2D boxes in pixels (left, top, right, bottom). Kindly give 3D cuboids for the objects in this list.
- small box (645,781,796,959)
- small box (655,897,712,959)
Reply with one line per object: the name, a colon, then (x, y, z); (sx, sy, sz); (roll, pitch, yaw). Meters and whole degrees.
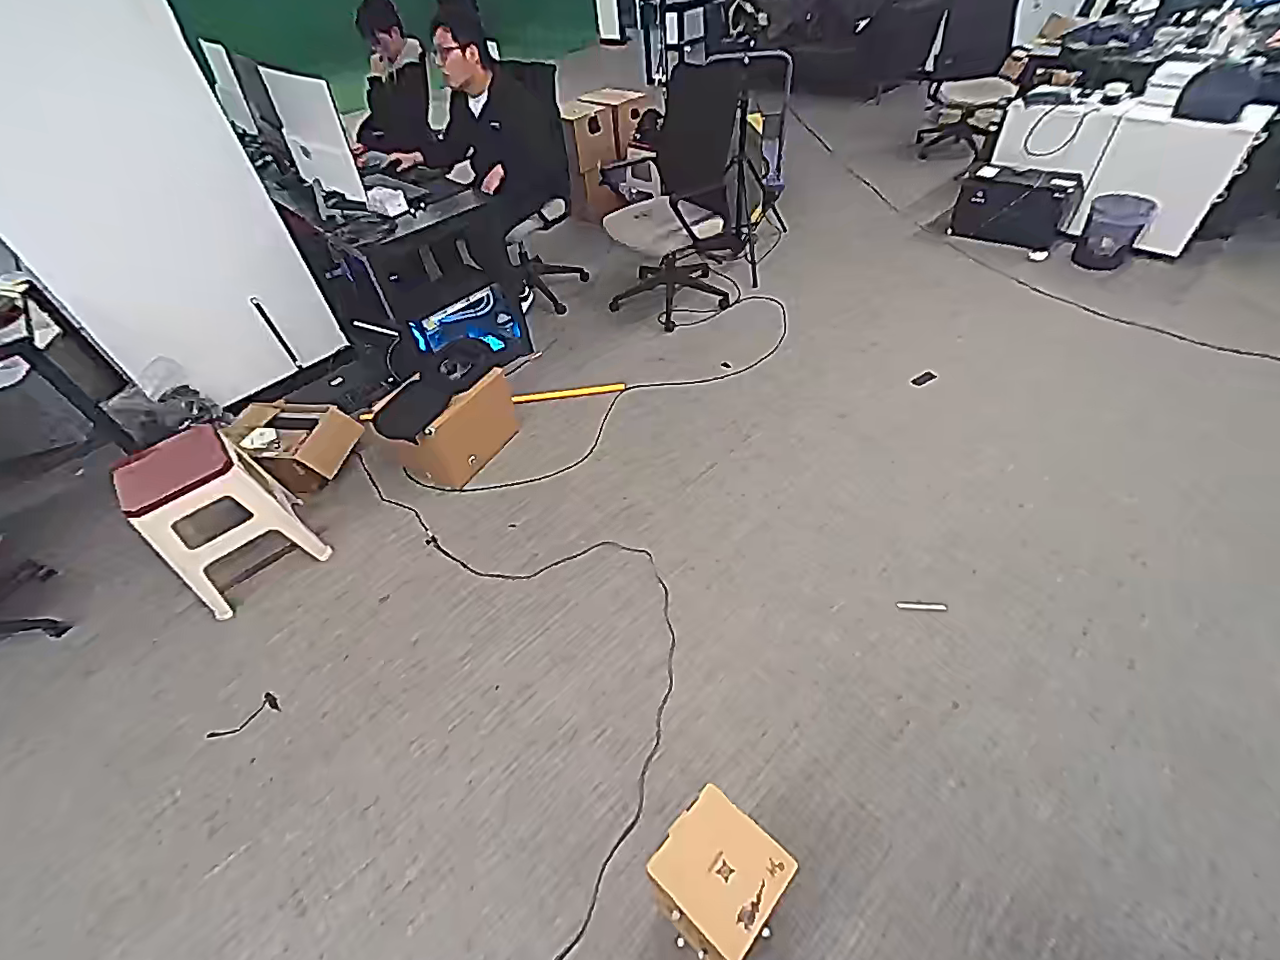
small box: (0.128, 0.646, 0.887); (0.179, 0.176, 0.168); (32, 58, 30)
small box: (0.149, 0.871, 1.122); (0.168, 0.176, 0.179); (32, 59, 31)
